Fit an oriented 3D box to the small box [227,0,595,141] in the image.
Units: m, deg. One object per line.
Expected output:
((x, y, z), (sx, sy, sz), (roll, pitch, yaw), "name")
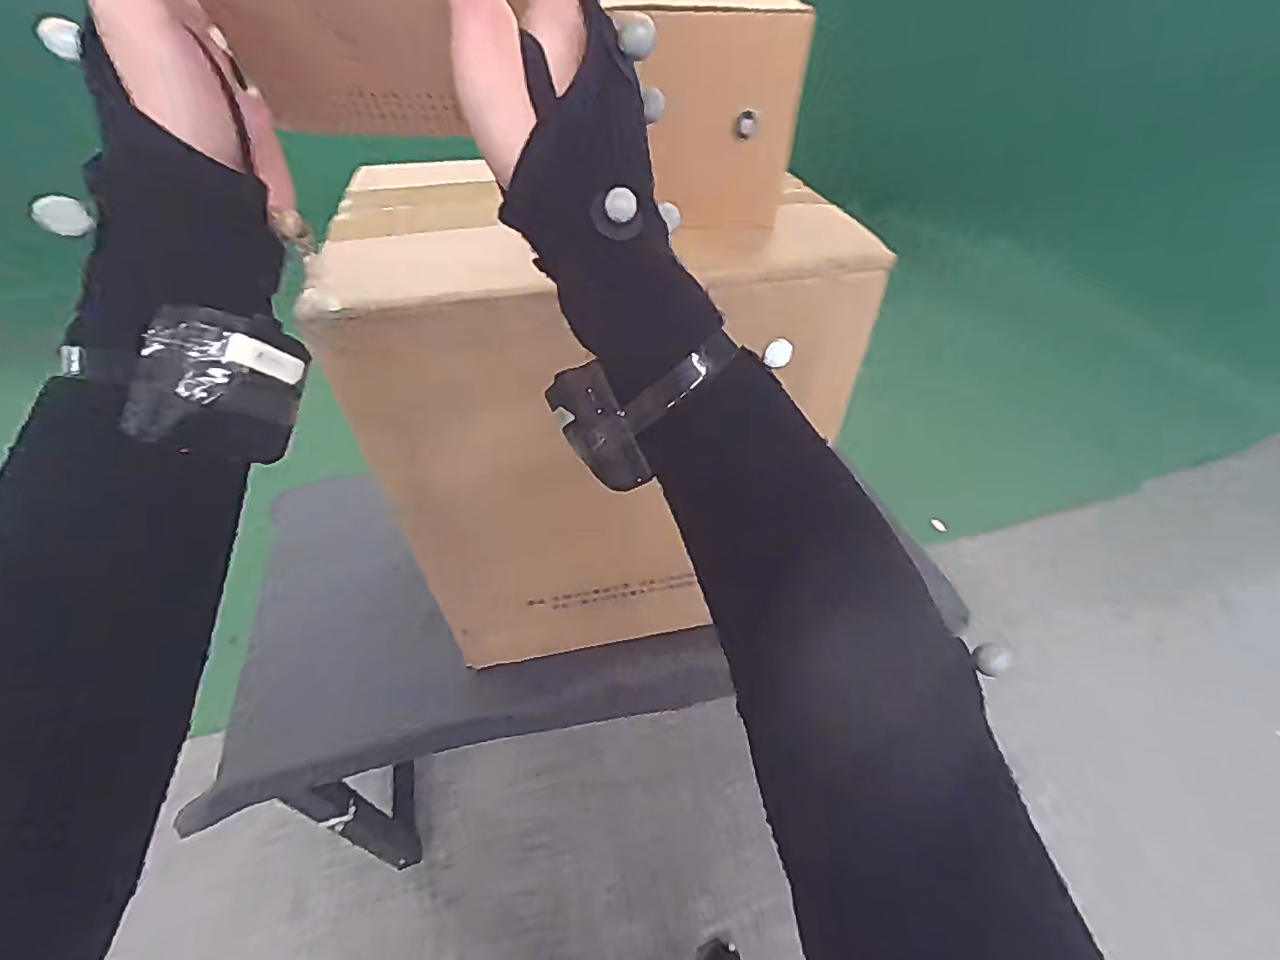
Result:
((-0.122, -0.311, 0.279), (0.179, 0.176, 0.168), (4, 77, 1), "small box")

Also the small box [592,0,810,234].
((0.048, -0.360, 0.537), (0.179, 0.176, 0.168), (-1, 46, 0), "small box")
